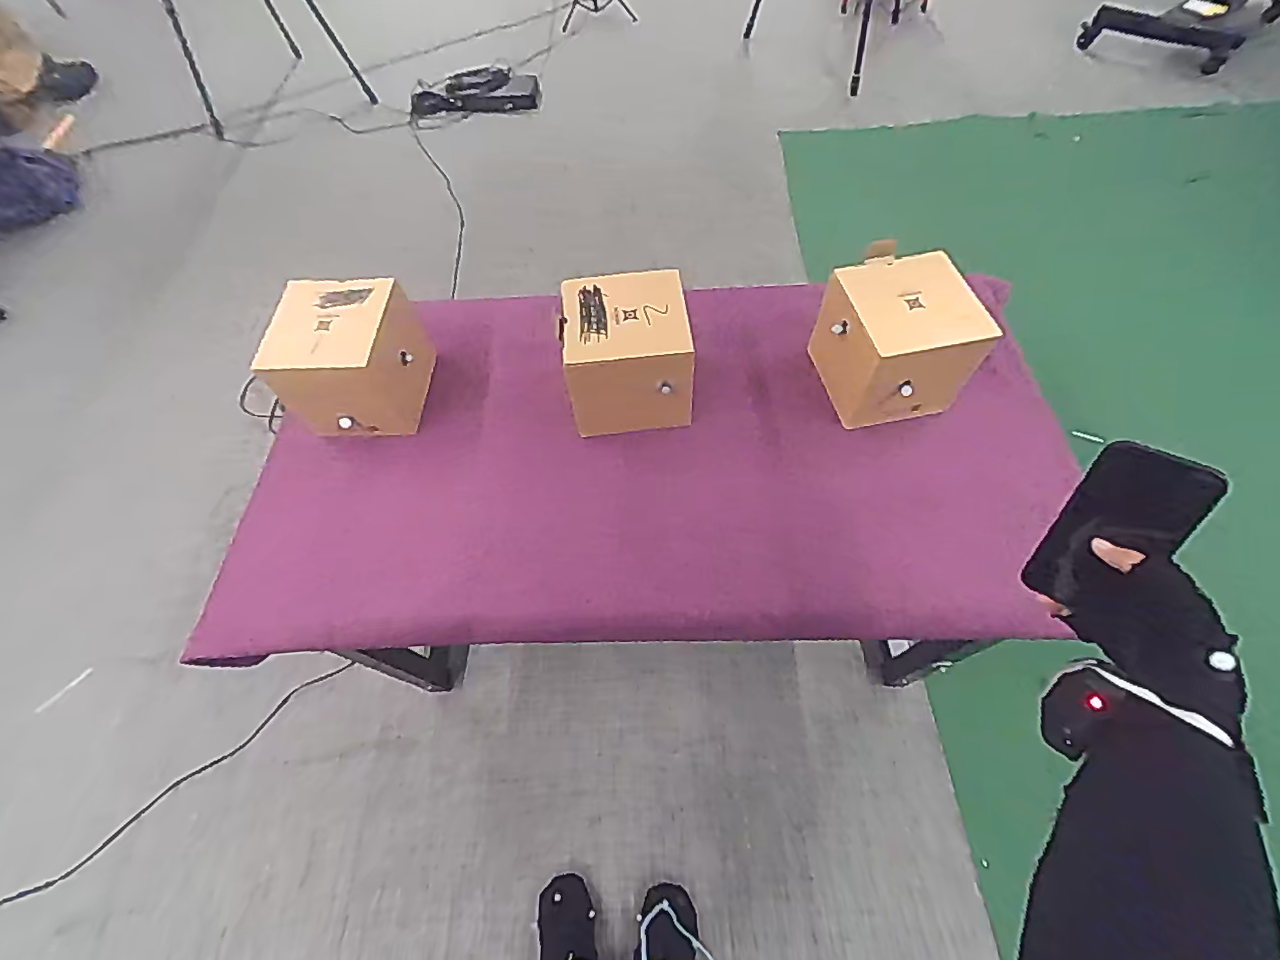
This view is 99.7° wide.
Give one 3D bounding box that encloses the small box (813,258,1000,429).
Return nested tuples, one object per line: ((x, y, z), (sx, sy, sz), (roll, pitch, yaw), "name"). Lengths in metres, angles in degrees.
((0.375, -0.192, 0.801), (0.168, 0.176, 0.179), (-10, 59, -2), "small box")

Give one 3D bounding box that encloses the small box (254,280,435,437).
((-0.438, -0.185, 0.838), (0.168, 0.176, 0.179), (0, 62, 3), "small box")
